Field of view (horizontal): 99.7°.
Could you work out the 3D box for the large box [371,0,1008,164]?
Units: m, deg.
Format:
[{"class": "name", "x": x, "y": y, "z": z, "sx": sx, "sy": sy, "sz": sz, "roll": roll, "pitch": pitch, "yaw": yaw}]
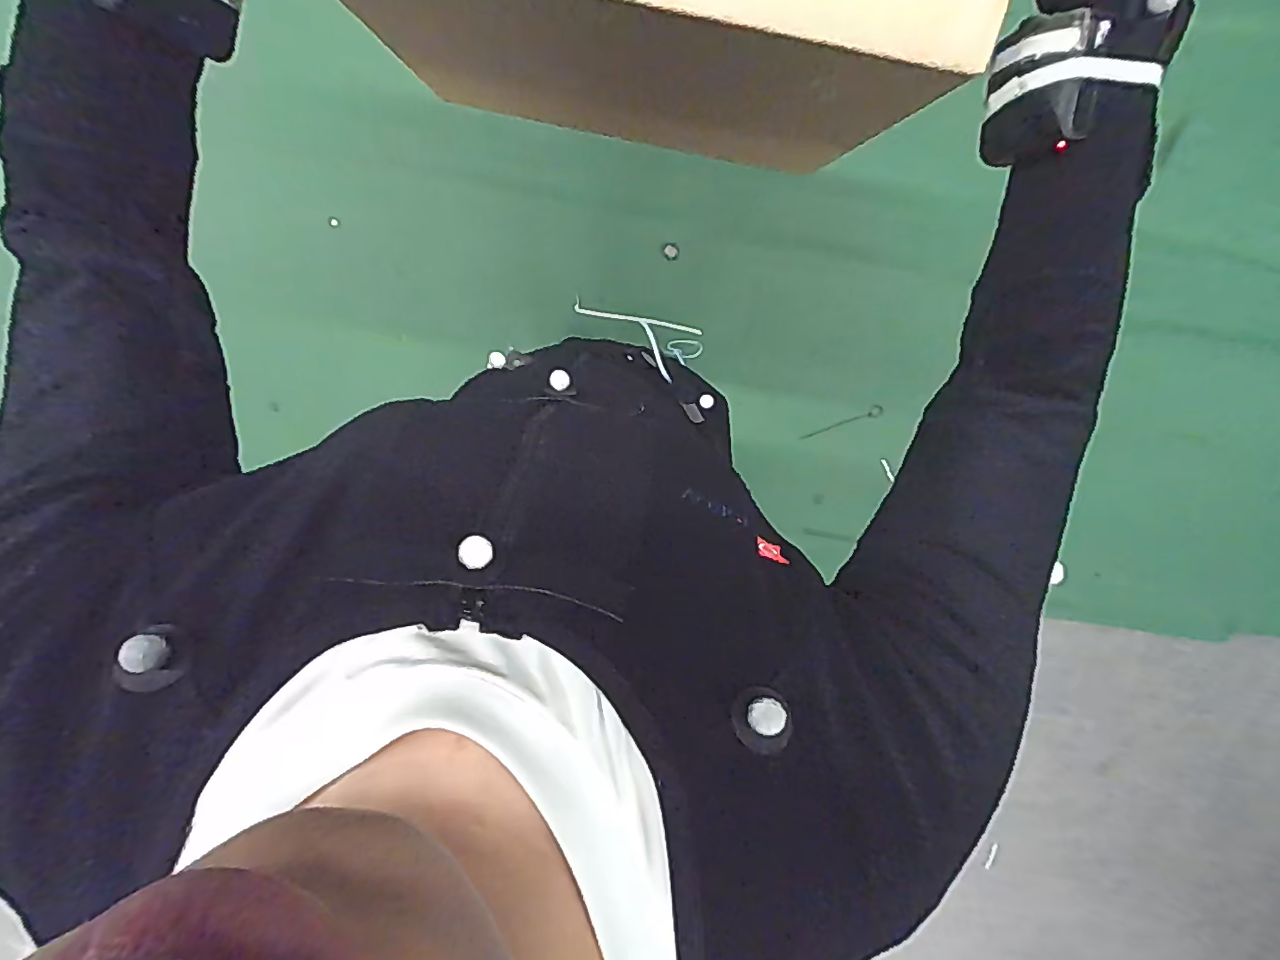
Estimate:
[{"class": "large box", "x": 0.024, "y": -0.463, "z": 0.388, "sx": 0.408, "sy": 0.320, "sz": 0.320, "roll": 8, "pitch": 110, "yaw": -6}]
